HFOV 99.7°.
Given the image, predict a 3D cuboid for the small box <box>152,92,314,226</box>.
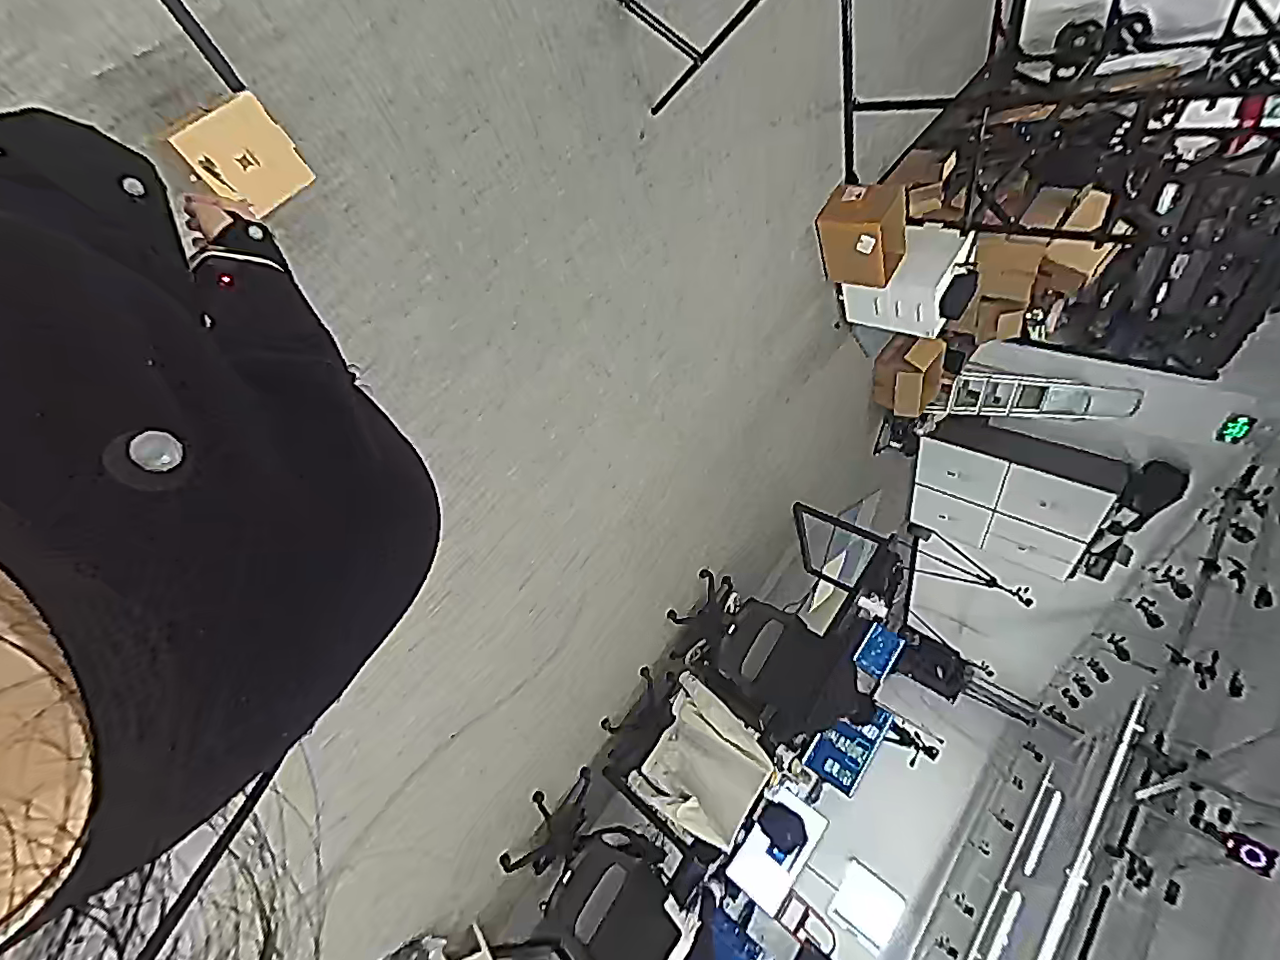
[{"bbox_3d":[-0.804,-0.633,1.068,0.179,0.176,0.168,-52,143,-19],"label":"small box"}]
